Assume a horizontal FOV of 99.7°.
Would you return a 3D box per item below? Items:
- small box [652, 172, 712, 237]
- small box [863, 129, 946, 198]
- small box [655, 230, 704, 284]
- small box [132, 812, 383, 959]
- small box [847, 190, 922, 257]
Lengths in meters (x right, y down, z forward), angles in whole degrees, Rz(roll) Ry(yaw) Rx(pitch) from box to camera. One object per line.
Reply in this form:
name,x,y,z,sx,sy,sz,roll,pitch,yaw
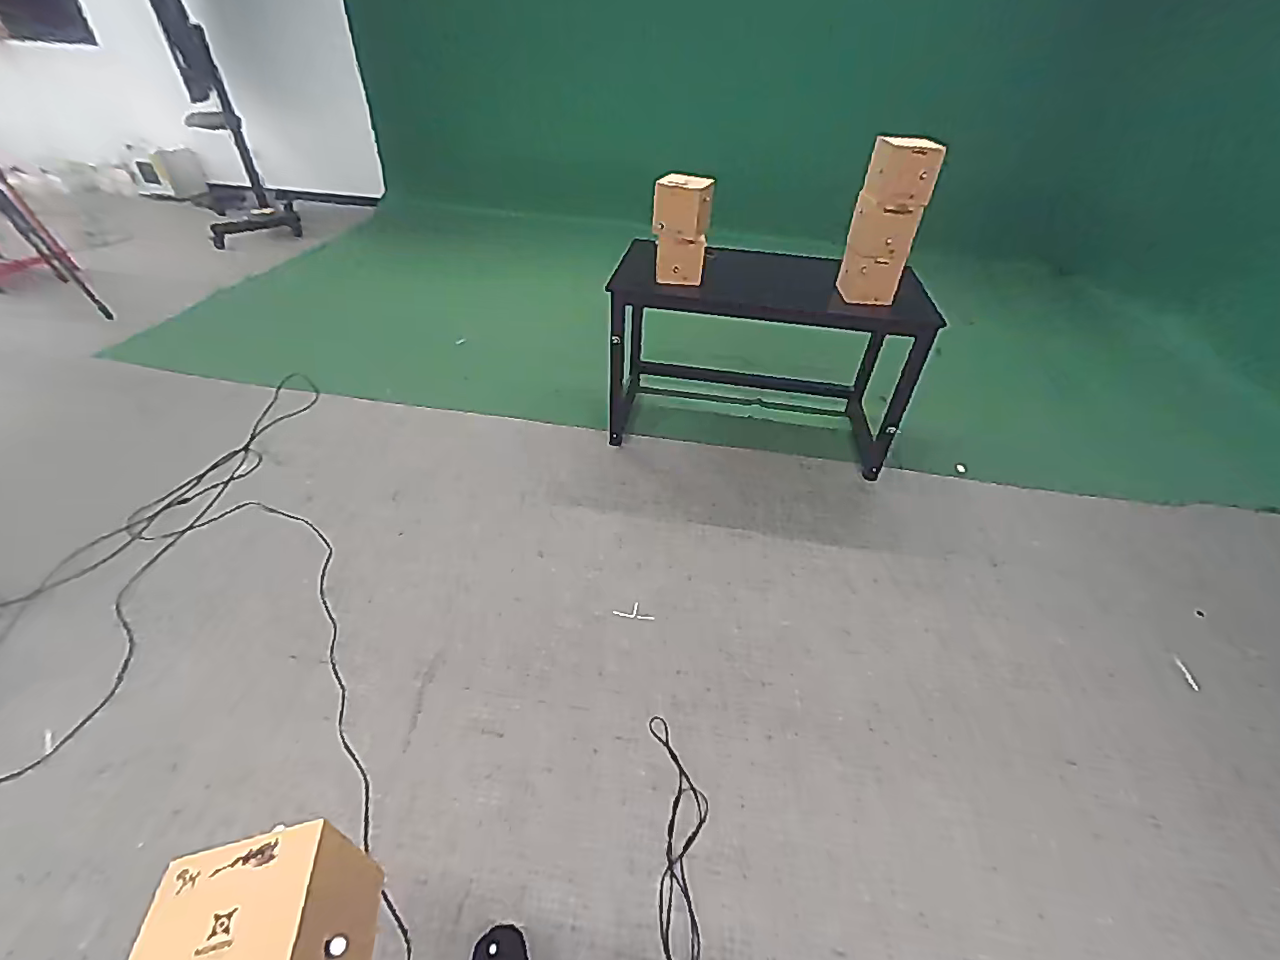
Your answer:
small box,0.149,-0.986,1.937,0.168,0.176,0.179,18,42,15
small box,0.850,-1.026,1.754,0.168,0.176,0.179,3,39,-1
small box,0.144,-0.861,2.044,0.168,0.176,0.179,3,42,-2
small box,-0.401,0.502,0.583,0.168,0.176,0.179,-13,39,-6
small box,0.835,-0.890,1.871,0.168,0.176,0.179,3,40,0
